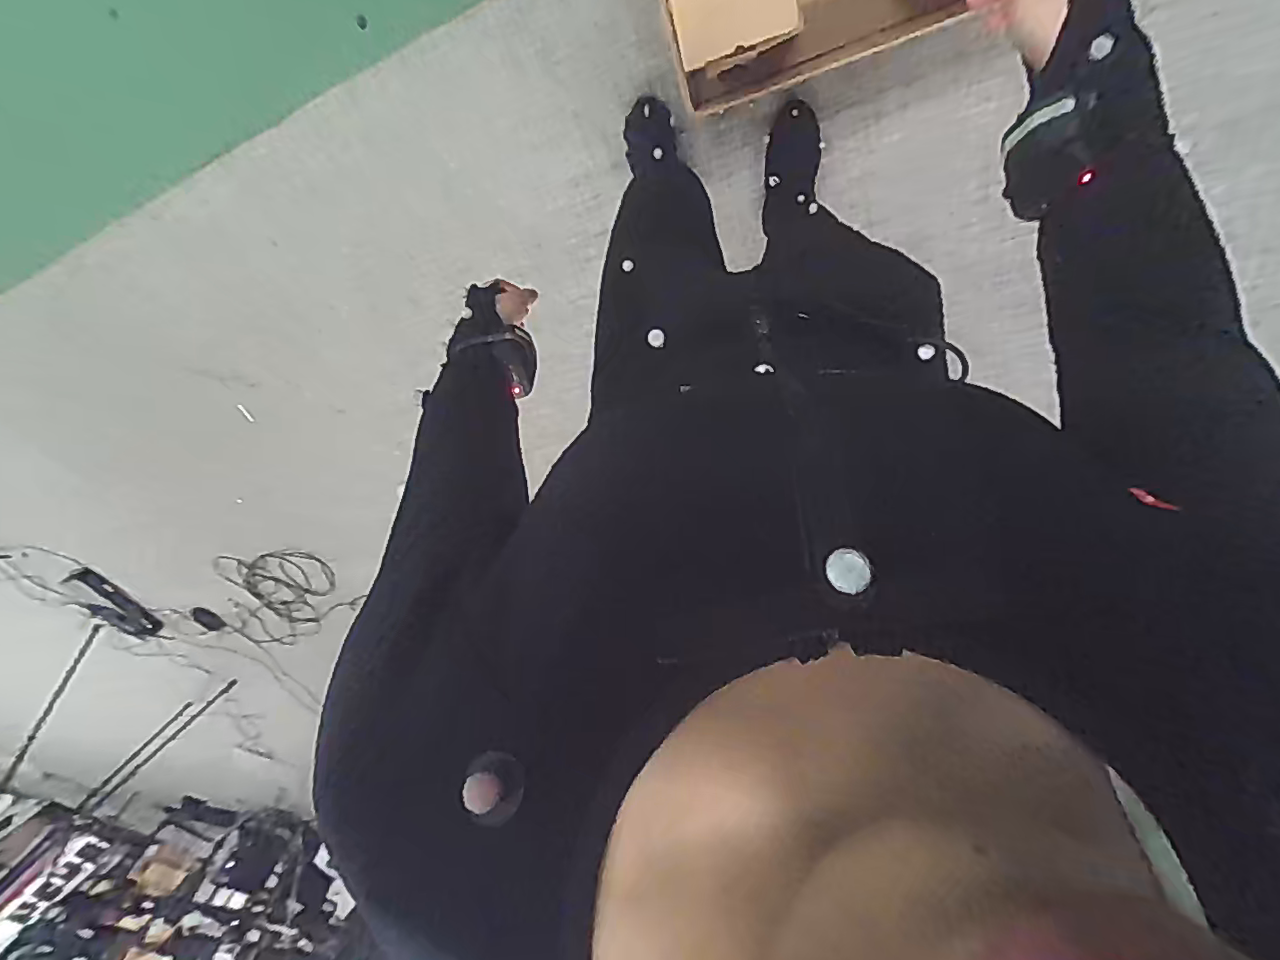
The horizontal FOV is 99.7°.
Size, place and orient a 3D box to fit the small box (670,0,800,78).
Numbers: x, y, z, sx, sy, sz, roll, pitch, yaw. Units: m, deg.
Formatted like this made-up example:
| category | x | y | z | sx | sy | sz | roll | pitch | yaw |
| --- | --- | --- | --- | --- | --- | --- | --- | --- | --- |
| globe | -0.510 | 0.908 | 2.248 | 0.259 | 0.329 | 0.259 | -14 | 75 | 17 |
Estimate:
| category | x | y | z | sx | sy | sz | roll | pitch | yaw |
| --- | --- | --- | --- | --- | --- | --- | --- | --- | --- |
| small box | 0.133 | -0.711 | 0.769 | 0.168 | 0.176 | 0.179 | -8 | 128 | 18 |
